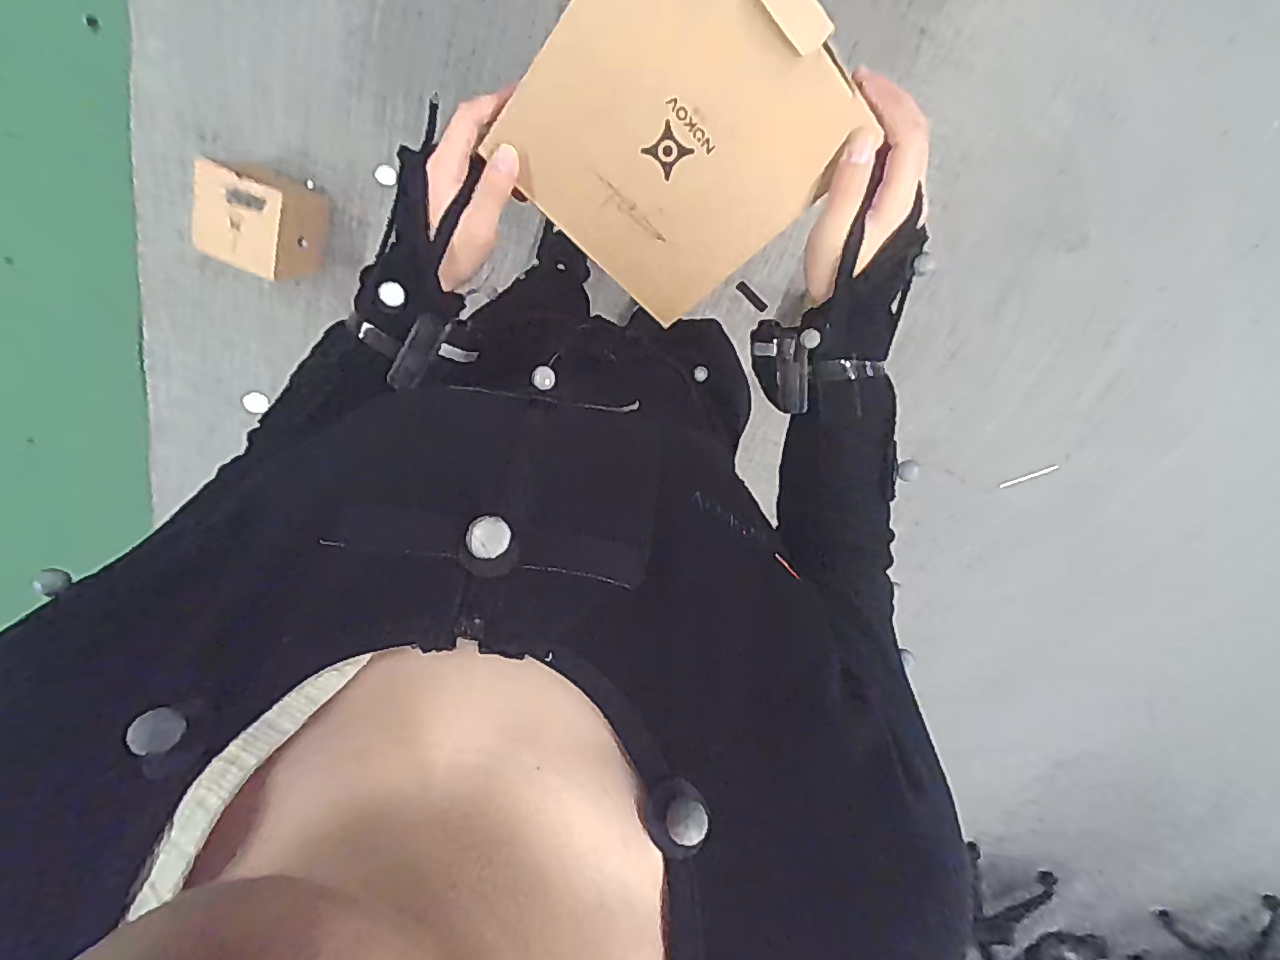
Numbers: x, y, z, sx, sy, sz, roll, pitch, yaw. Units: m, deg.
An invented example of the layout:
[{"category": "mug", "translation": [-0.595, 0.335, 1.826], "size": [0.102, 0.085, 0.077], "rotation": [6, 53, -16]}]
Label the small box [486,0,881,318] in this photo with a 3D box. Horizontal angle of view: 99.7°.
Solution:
[{"category": "small box", "translation": [0.029, -0.258, 0.370], "size": [0.168, 0.176, 0.179], "rotation": [37, 132, -24]}]

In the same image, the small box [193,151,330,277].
[{"category": "small box", "translation": [-0.777, -0.549, 1.123], "size": [0.168, 0.176, 0.179], "rotation": [23, 117, -8]}]

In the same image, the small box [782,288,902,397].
[{"category": "small box", "translation": [0.430, -0.308, 1.187], "size": [0.168, 0.176, 0.179], "rotation": [16, 116, -5]}]
